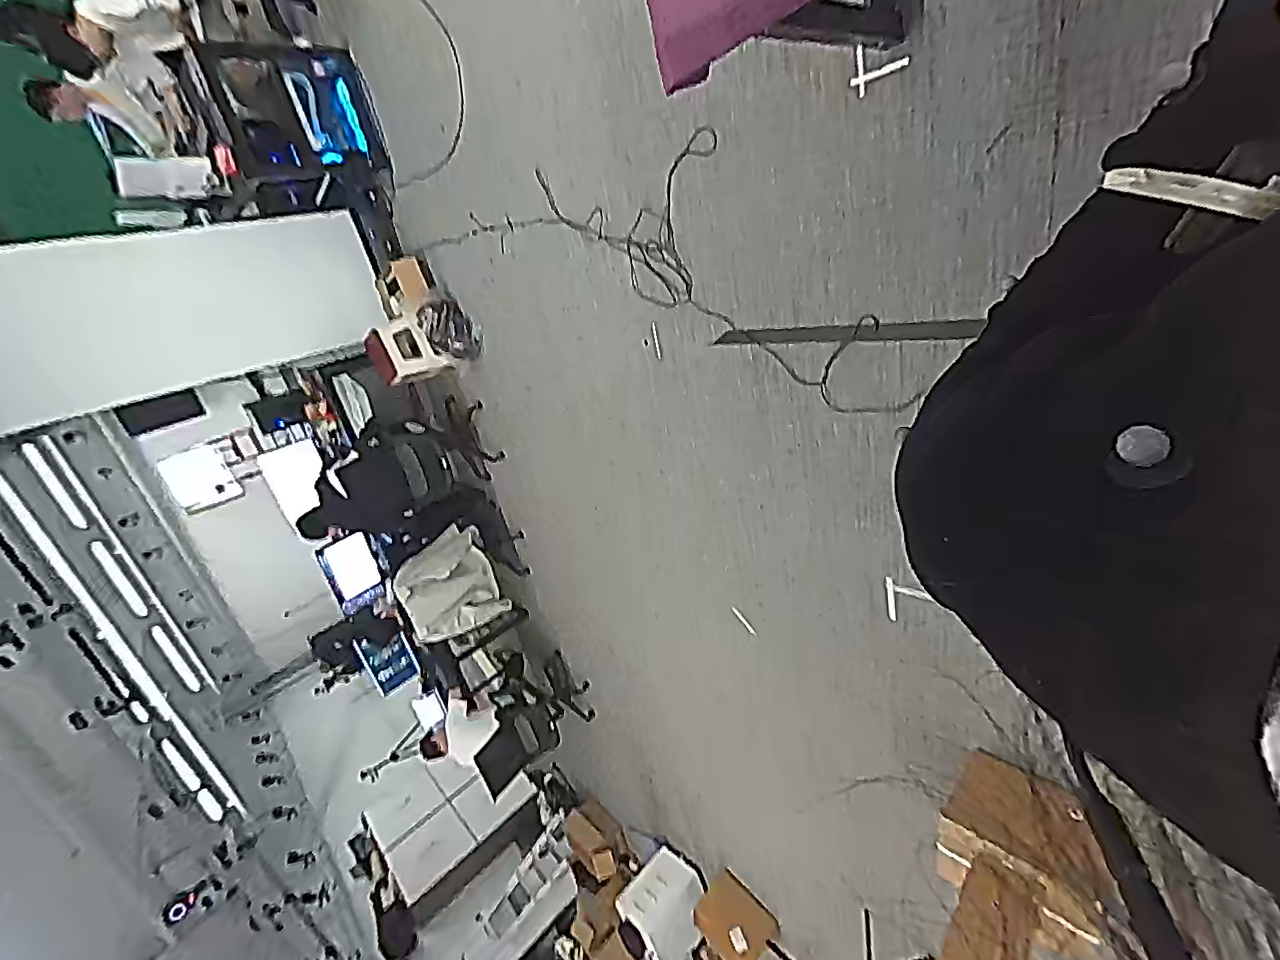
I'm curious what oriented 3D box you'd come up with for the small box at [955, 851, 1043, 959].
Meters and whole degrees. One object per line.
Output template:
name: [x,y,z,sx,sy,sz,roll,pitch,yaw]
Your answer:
small box: [1.034,1.227,1.555,0.179,0.176,0.168,13,123,48]
